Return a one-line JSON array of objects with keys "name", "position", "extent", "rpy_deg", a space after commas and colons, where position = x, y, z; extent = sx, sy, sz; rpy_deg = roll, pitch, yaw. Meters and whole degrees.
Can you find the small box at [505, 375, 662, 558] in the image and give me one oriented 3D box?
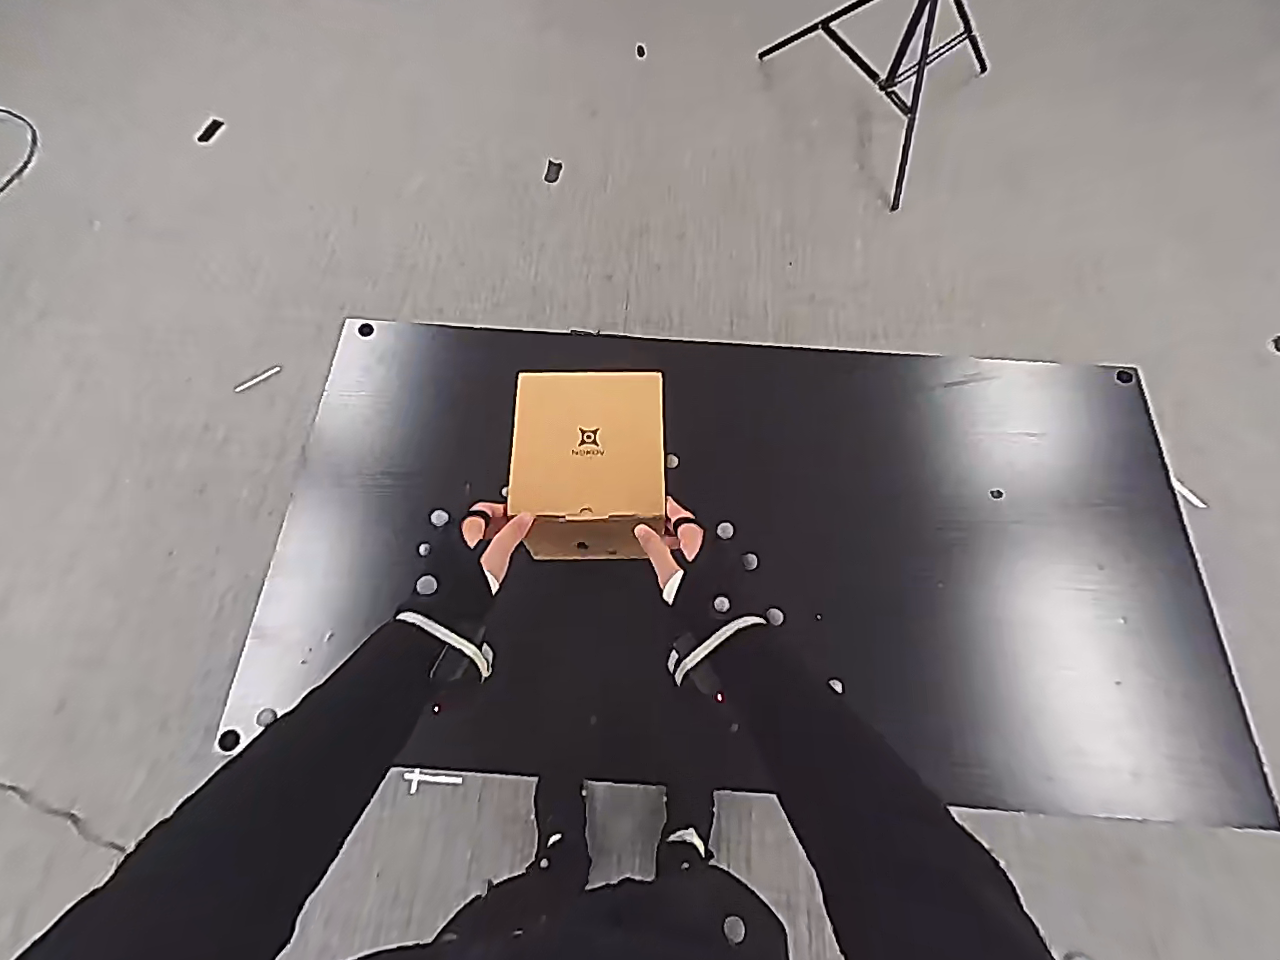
[{"name": "small box", "position": [-0.061, -0.010, 0.663], "extent": [0.168, 0.176, 0.179], "rpy_deg": [-1, 68, -1]}]
